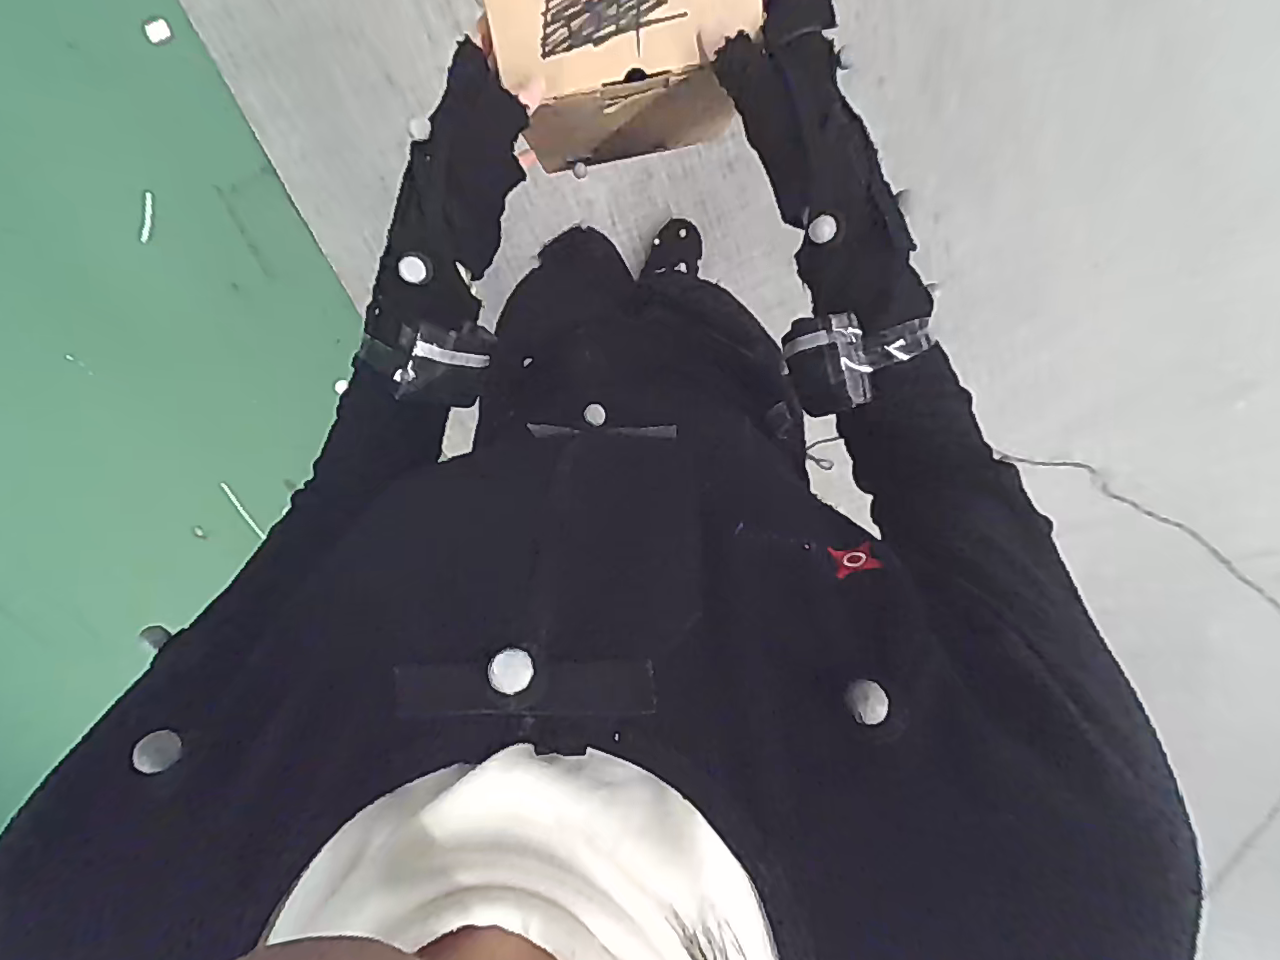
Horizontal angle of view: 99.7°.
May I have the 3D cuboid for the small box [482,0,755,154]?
[{"bbox_3d":[-0.021,-0.360,0.392,0.168,0.176,0.179,-10,106,3],"label":"small box"}]
